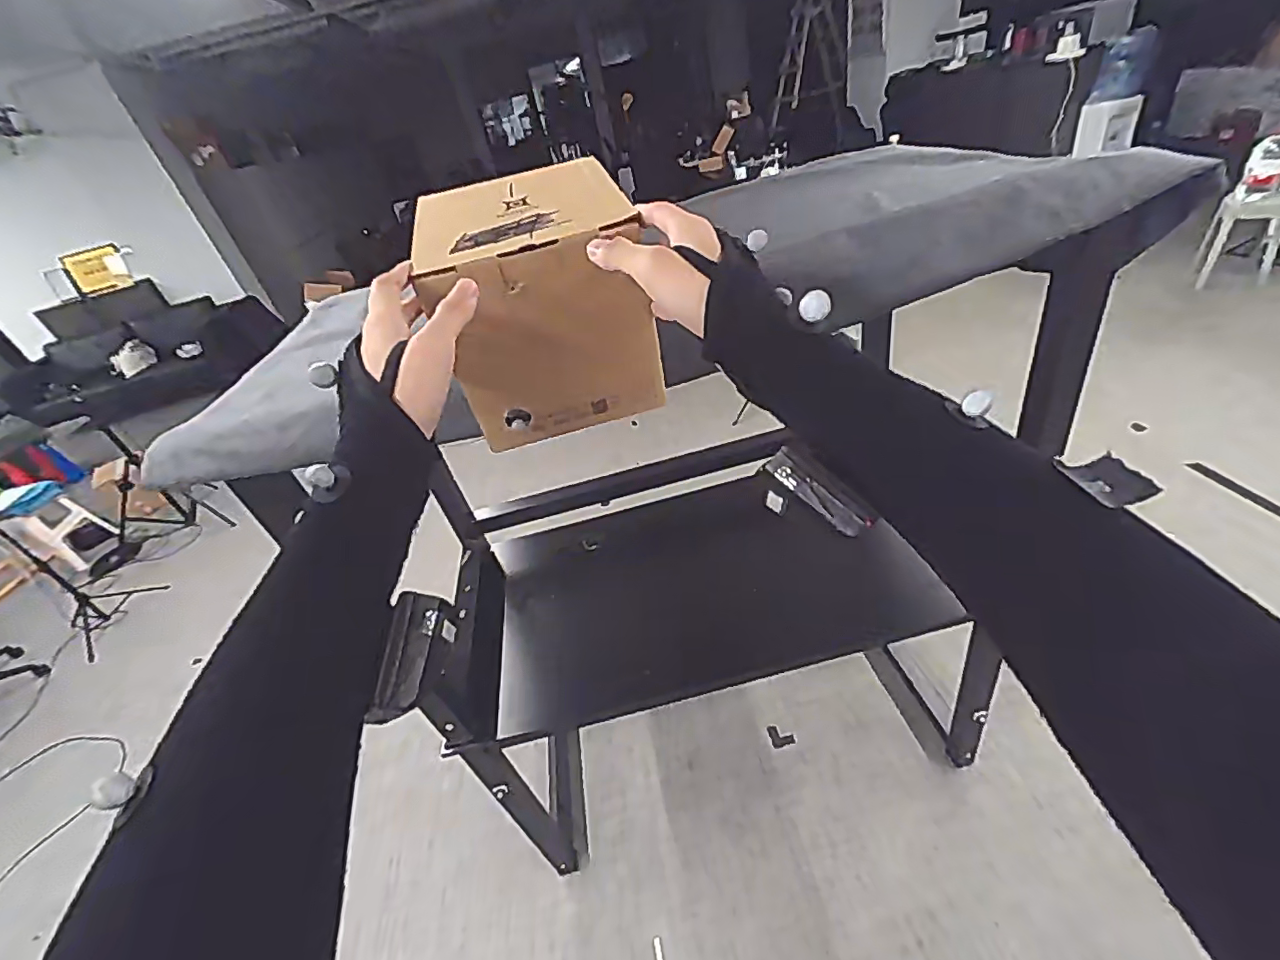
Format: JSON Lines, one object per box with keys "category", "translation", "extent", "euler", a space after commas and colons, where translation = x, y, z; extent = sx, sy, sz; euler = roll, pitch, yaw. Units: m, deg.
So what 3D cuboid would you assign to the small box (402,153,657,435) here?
{"category": "small box", "translation": [-0.090, -0.159, 0.482], "extent": [0.168, 0.176, 0.179], "euler": [-16, 46, -4]}
